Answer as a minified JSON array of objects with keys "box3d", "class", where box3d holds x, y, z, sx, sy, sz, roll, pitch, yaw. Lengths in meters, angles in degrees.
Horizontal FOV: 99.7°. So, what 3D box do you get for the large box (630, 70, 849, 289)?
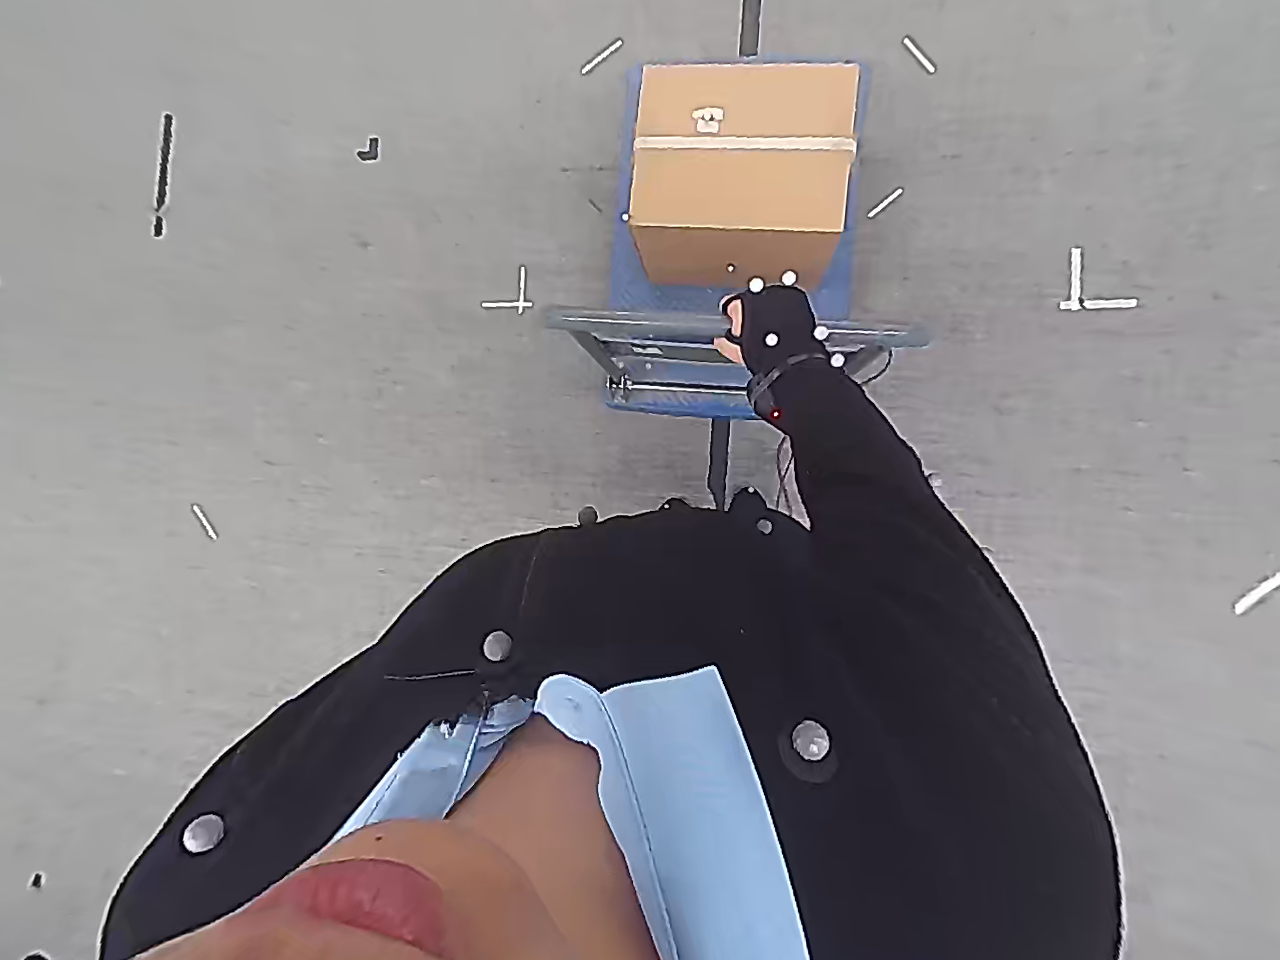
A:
[{"box3d":[0.210,-0.624,1.185,0.408,0.320,0.320,5,89,9],"class":"large box"}]
